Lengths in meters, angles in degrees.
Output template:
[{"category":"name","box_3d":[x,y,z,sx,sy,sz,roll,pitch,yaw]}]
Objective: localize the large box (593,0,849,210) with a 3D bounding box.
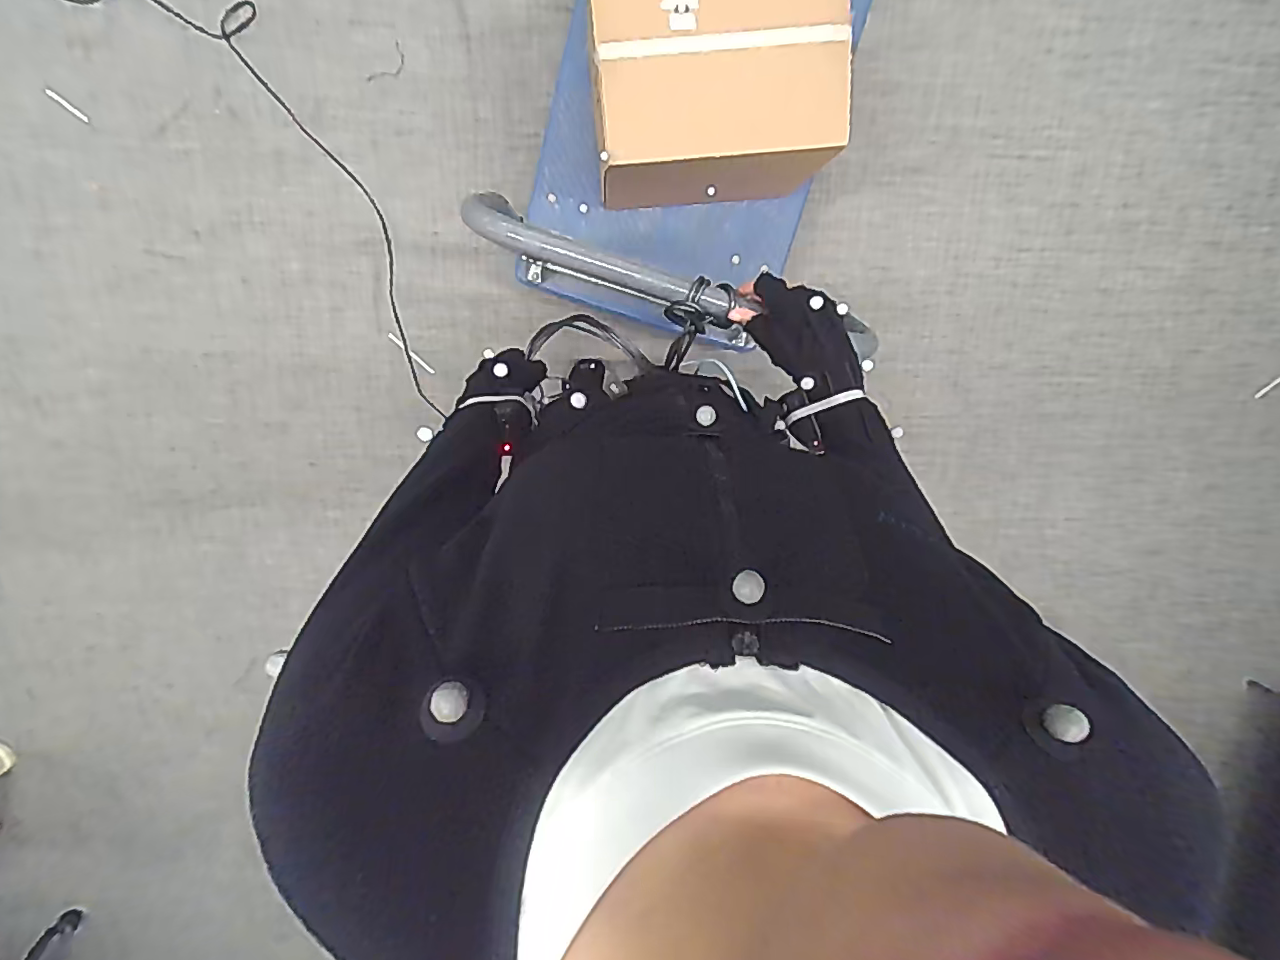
[{"category":"large box","box_3d":[0.132,-0.718,1.007,0.408,0.320,0.320,-6,104,-2]}]
